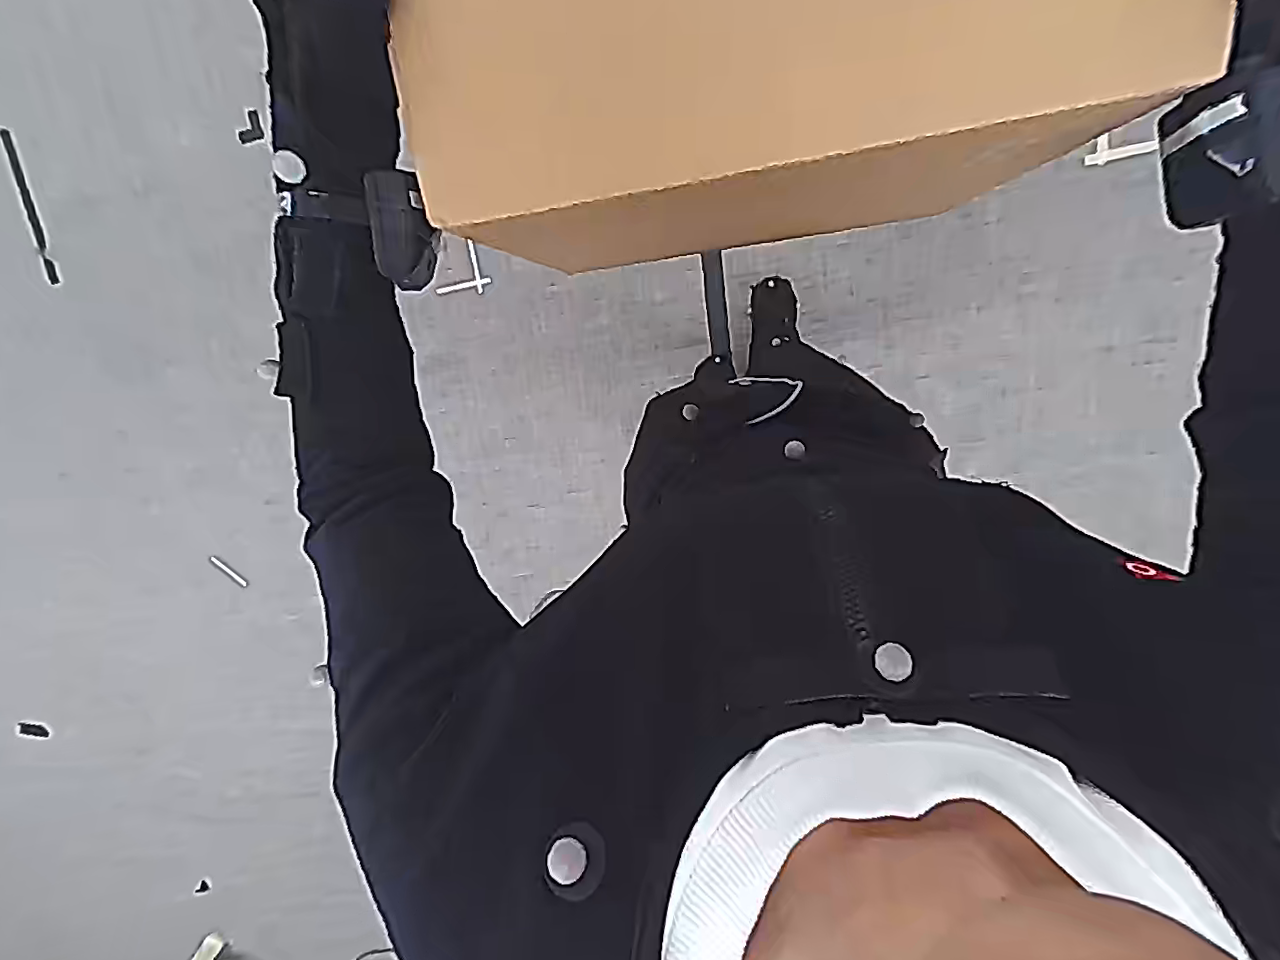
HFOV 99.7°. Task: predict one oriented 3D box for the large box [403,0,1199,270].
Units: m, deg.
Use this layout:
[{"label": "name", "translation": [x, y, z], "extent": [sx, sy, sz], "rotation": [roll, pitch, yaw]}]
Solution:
[{"label": "large box", "translation": [0.072, -0.367, 0.403], "extent": [0.408, 0.320, 0.320], "rotation": [-7, 105, 8]}]
